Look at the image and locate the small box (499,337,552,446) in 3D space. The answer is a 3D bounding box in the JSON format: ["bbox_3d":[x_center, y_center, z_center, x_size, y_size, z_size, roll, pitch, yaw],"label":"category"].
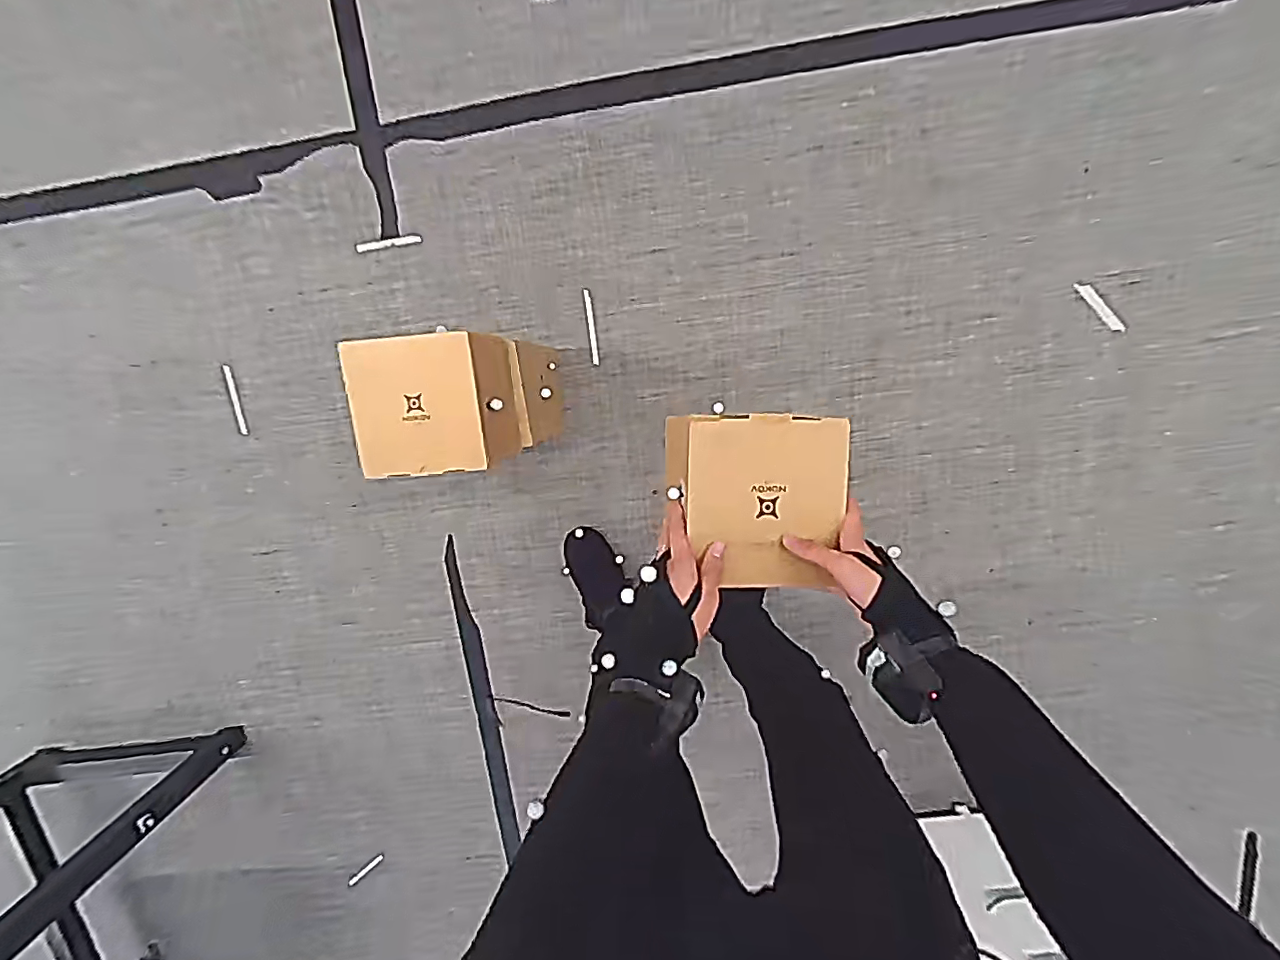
[{"bbox_3d":[-0.258,-0.141,0.905,0.179,0.176,0.168,-7,102,3],"label":"small box"}]

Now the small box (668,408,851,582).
[{"bbox_3d":[0.123,0.011,0.622,0.168,0.176,0.179,0,96,-4],"label":"small box"}]

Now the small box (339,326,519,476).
[{"bbox_3d":[-0.276,-0.111,0.746,0.168,0.176,0.179,-5,103,3],"label":"small box"}]
